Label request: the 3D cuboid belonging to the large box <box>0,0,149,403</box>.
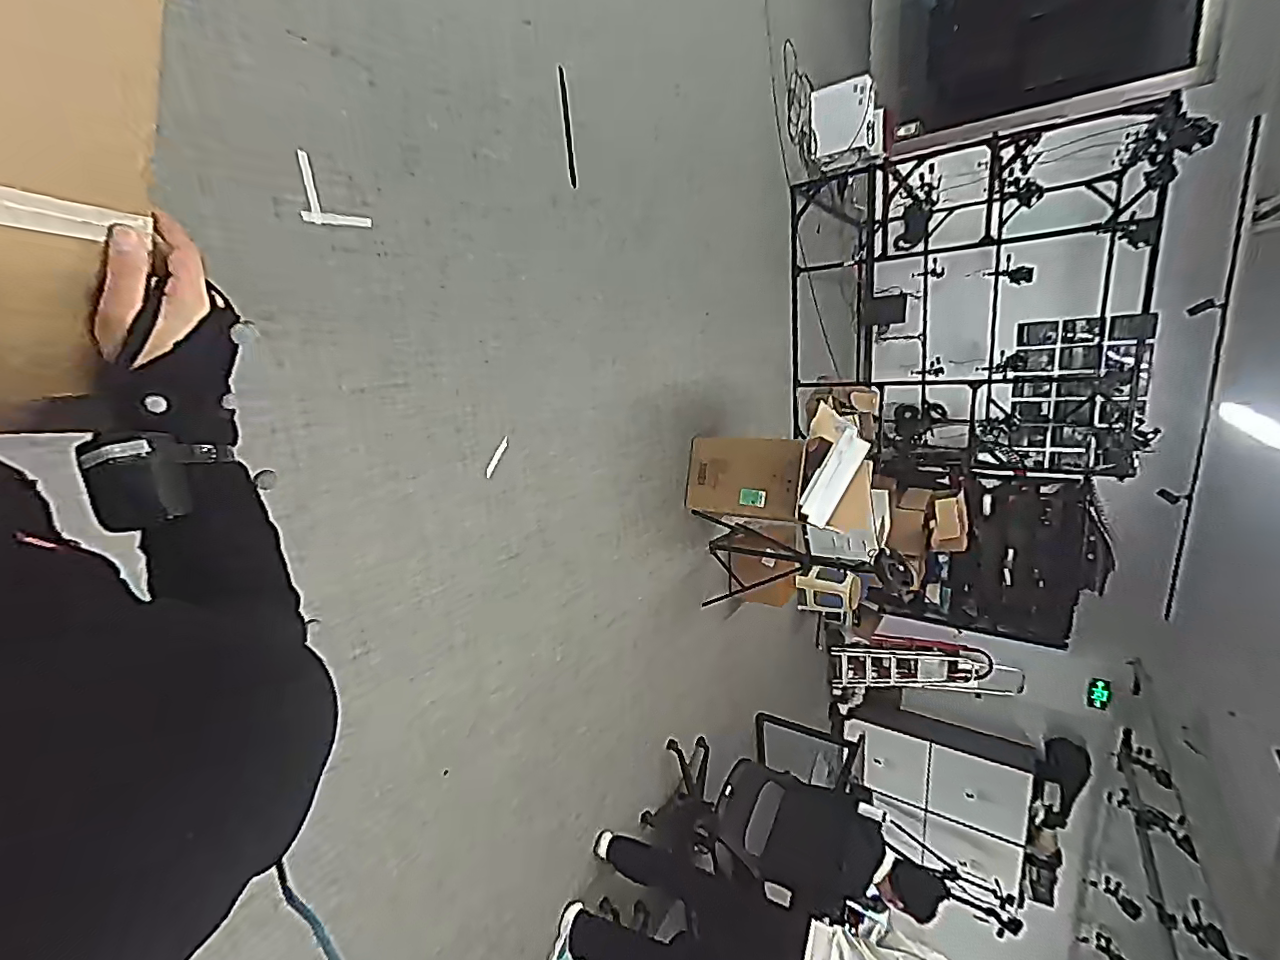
[{"bbox_3d":[-0.549,-0.245,0.256,0.408,0.320,0.320,-12,138,-54],"label":"large box"}]
